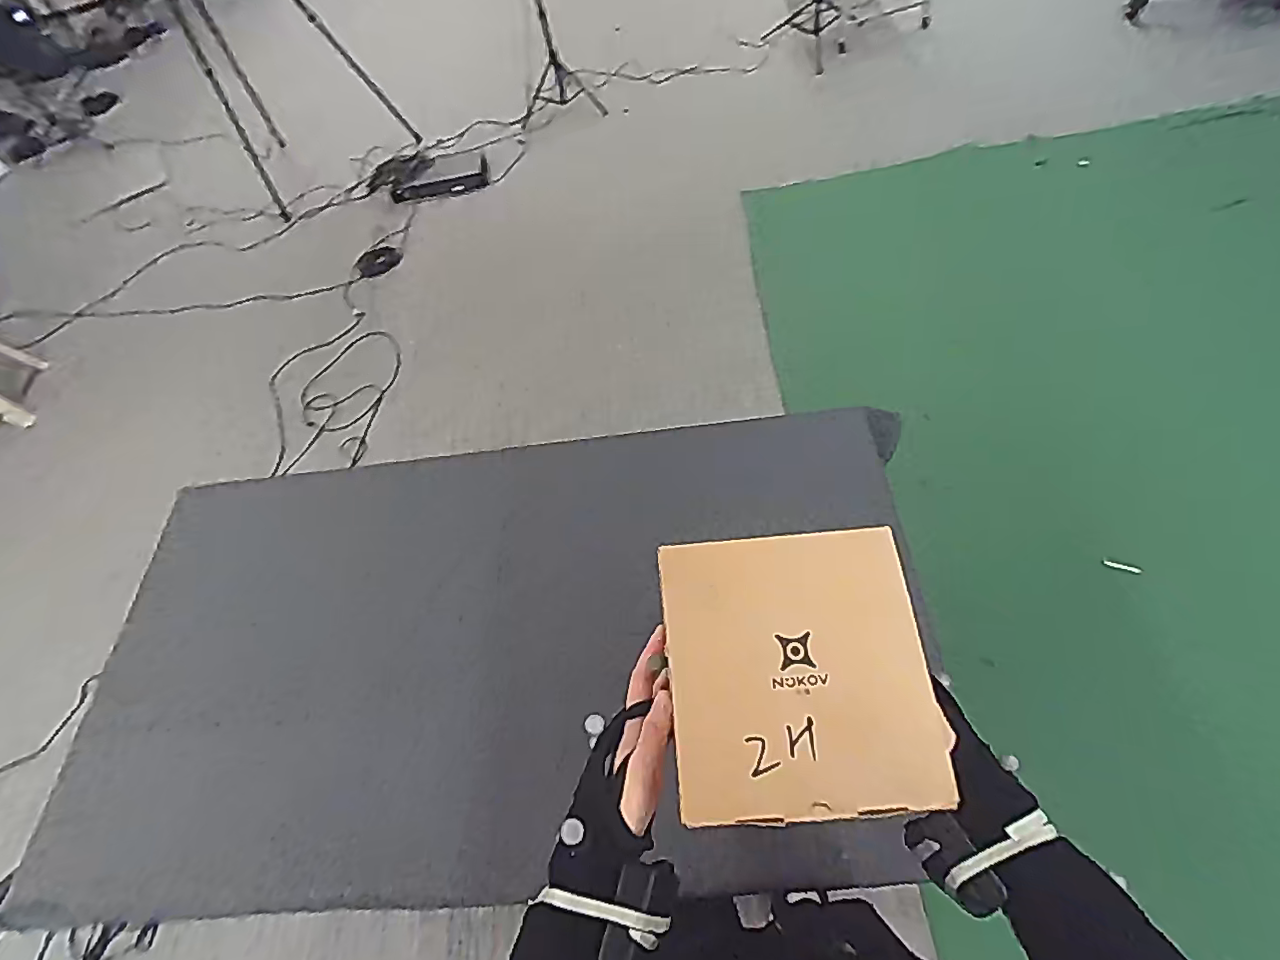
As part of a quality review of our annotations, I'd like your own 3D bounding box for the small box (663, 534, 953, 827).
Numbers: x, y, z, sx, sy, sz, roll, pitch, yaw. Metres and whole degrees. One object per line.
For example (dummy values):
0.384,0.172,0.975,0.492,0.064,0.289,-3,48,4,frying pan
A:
0.106,0.154,0.429,0.168,0.176,0.179,-5,68,3,small box
